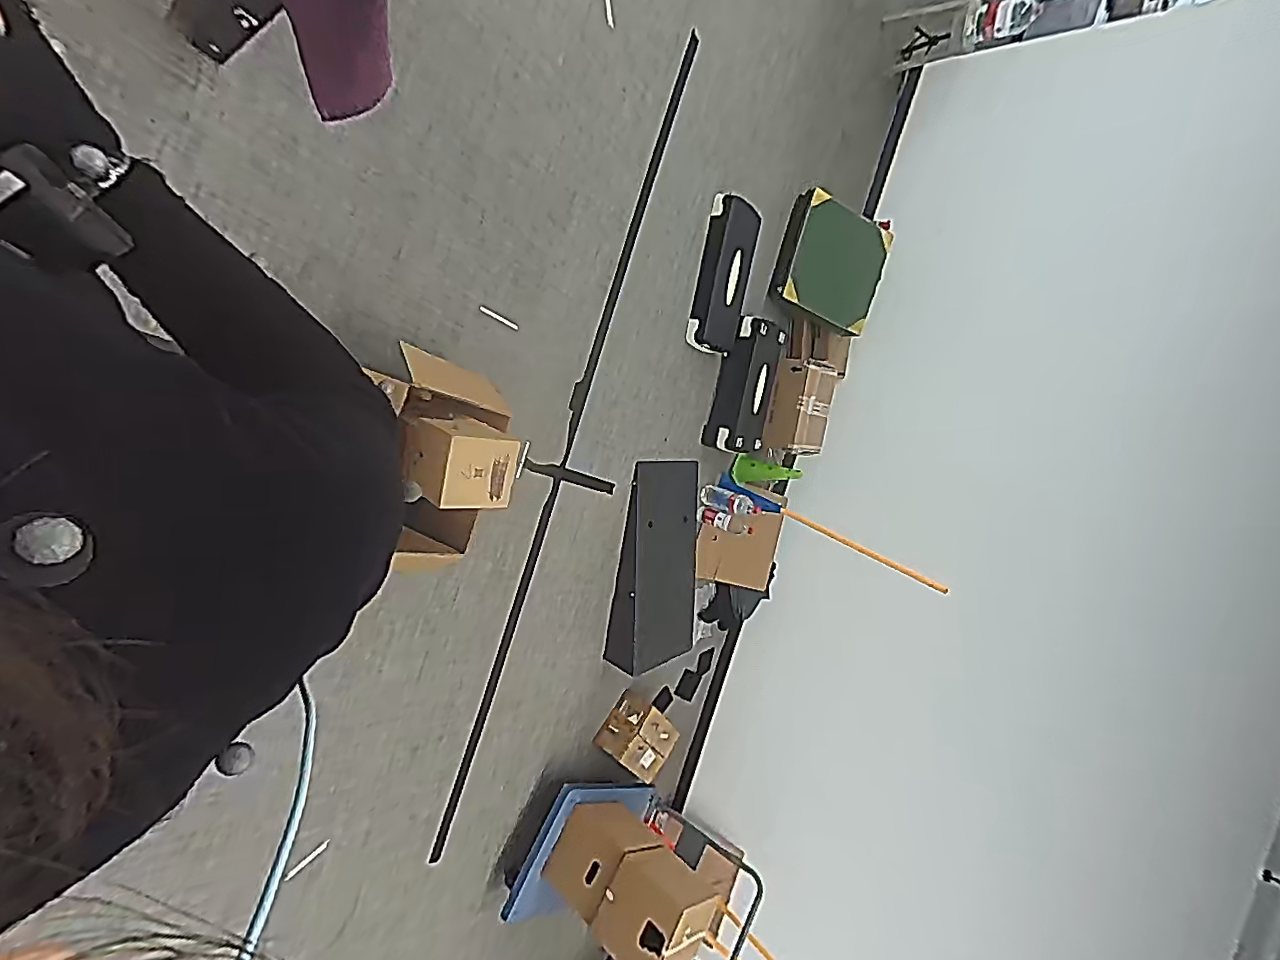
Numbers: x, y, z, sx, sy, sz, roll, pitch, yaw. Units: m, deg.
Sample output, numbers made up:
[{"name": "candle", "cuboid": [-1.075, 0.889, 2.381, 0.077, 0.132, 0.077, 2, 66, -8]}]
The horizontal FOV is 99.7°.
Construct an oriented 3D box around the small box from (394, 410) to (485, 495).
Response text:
[{"name": "small box", "cuboid": [-0.516, -0.080, 1.387, 0.168, 0.176, 0.179, -12, 116, -44]}]
